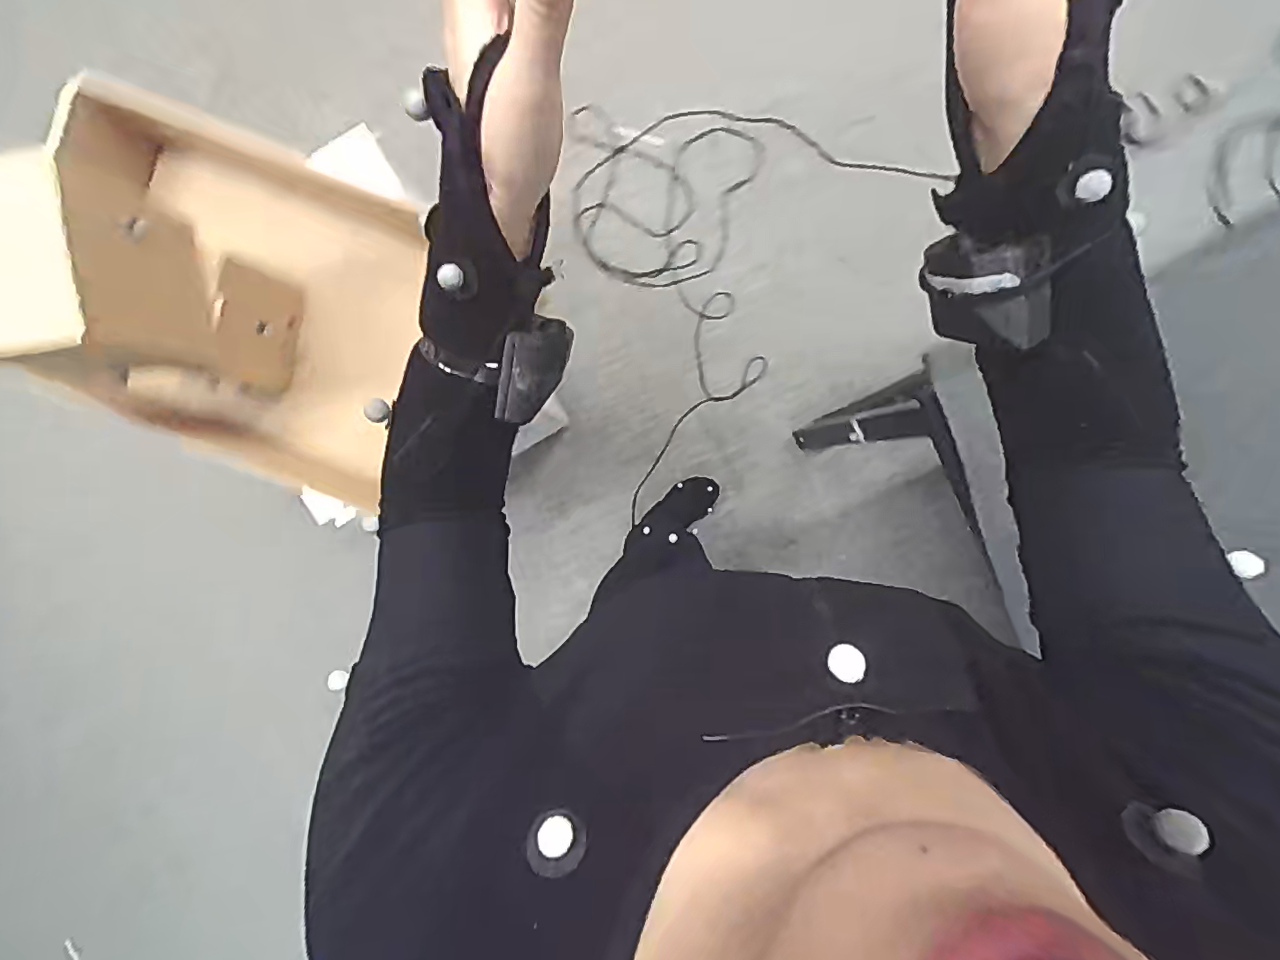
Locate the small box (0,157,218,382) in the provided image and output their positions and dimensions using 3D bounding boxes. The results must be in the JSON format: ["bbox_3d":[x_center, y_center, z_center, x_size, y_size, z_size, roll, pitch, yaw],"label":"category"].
[{"bbox_3d":[-0.615,-0.212,0.592,0.168,0.176,0.179,-8,94,2],"label":"small box"}]
